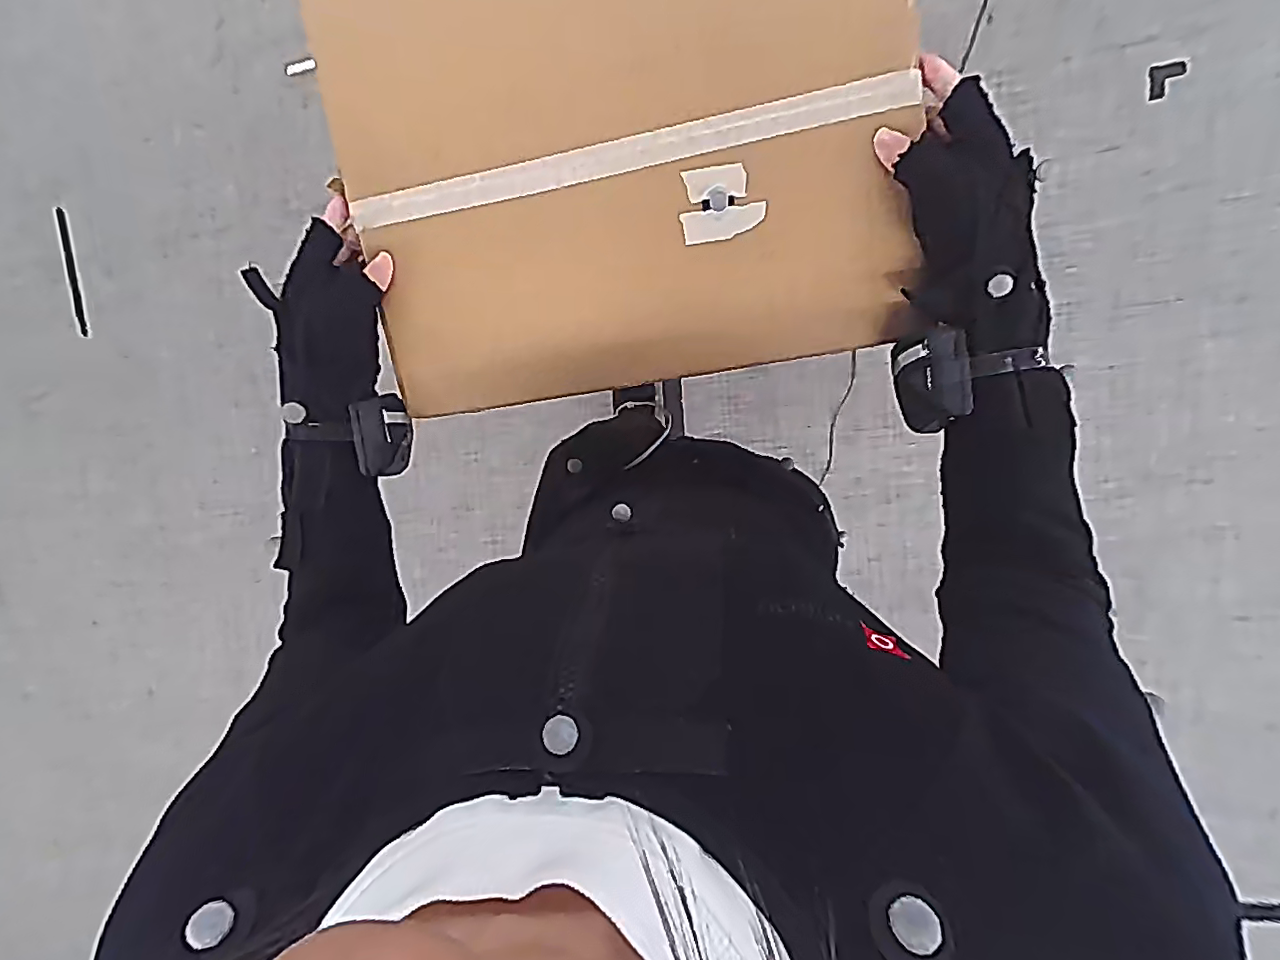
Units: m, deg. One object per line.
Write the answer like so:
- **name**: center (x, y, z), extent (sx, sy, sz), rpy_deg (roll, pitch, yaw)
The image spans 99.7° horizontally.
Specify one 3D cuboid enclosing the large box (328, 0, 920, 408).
- **large box**: center (0.002, -0.267, 0.541), extent (0.408, 0.320, 0.320), rpy_deg (-8, 102, 8)
